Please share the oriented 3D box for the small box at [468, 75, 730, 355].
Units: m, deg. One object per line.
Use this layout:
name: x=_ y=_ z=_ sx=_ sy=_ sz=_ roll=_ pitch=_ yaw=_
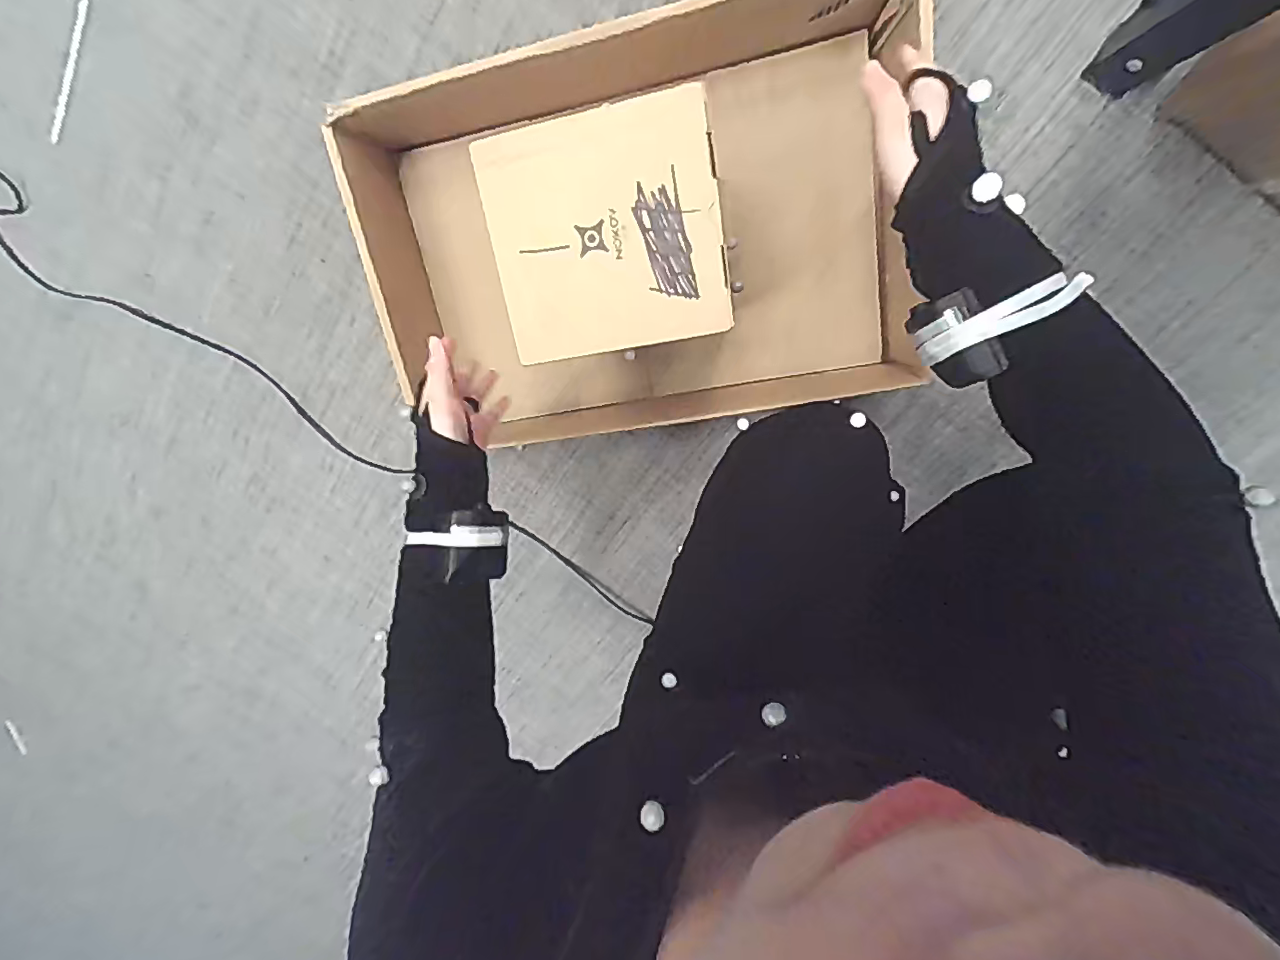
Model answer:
small box: x=-0.017 y=-0.214 z=0.475 sx=0.179 sy=0.176 sz=0.168 roll=-6 pitch=108 yaw=12
